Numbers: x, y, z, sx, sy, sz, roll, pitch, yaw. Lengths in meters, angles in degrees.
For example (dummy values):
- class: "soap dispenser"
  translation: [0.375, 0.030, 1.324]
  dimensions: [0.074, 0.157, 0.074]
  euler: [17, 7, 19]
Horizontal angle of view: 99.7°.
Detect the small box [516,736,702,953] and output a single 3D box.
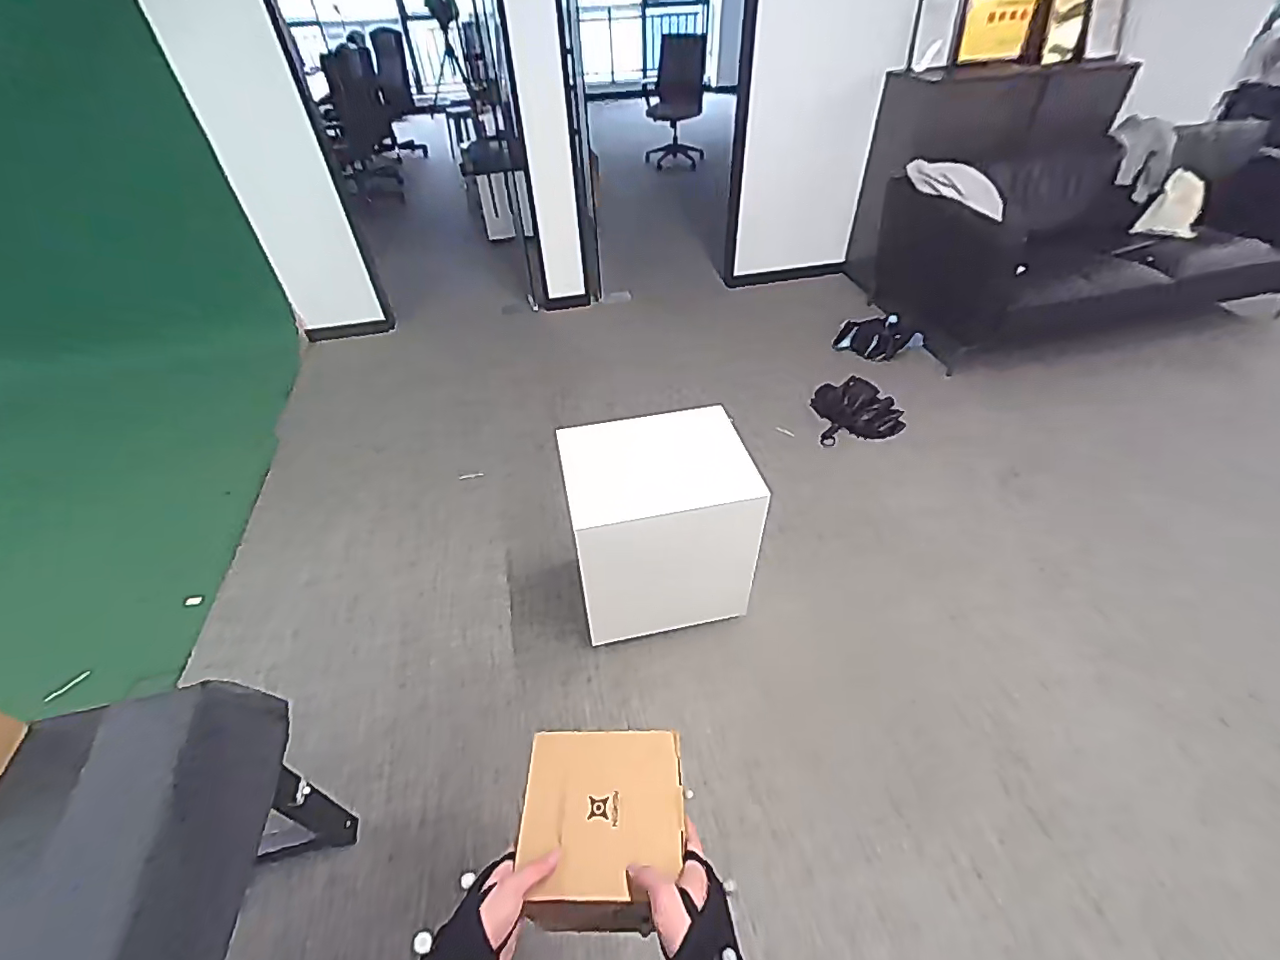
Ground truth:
- class: "small box"
  translation: [-0.029, 0.412, 0.614]
  dimensions: [0.179, 0.176, 0.168]
  euler: [-3, 40, 0]
